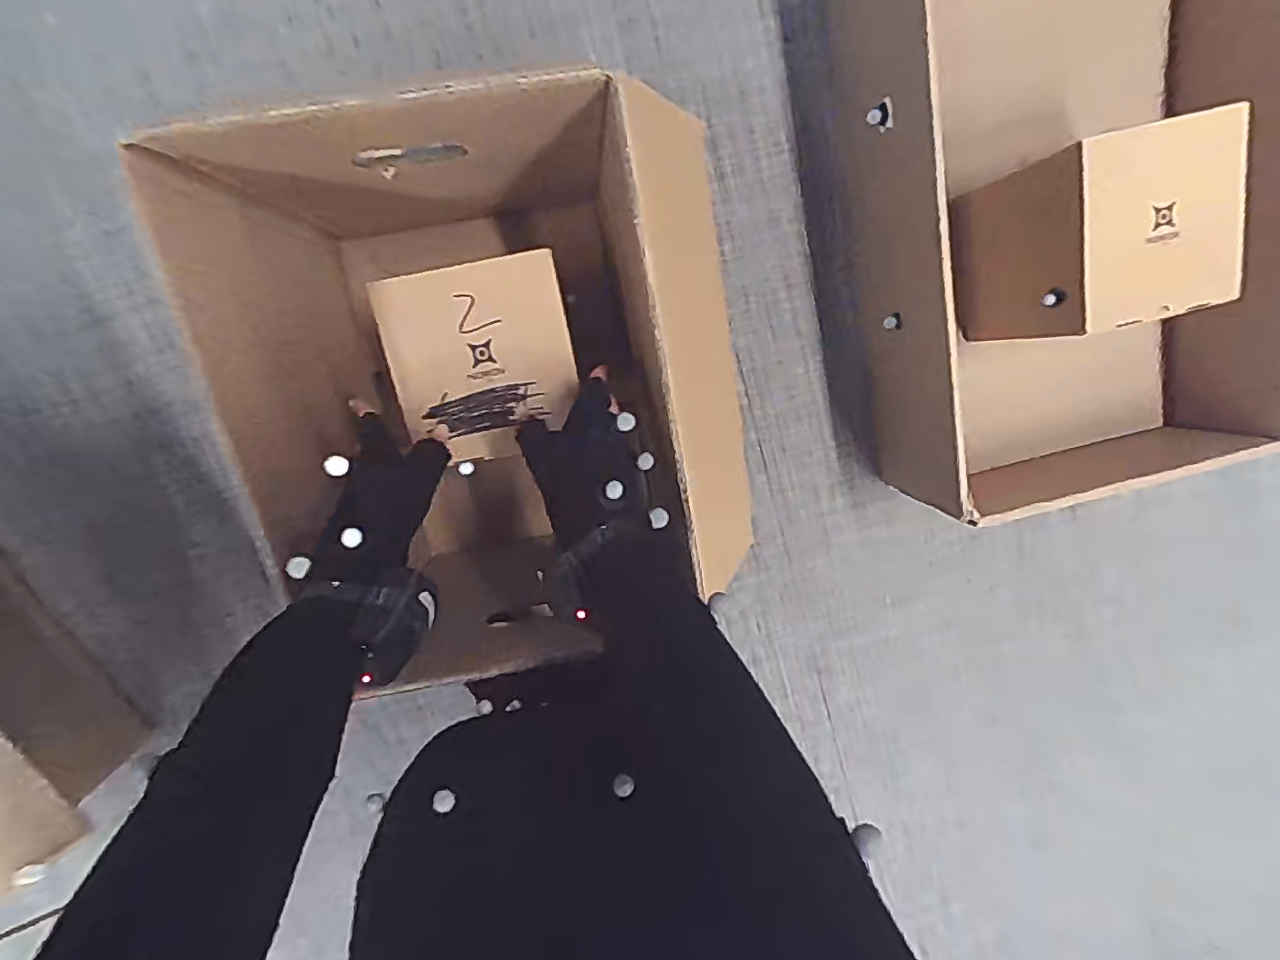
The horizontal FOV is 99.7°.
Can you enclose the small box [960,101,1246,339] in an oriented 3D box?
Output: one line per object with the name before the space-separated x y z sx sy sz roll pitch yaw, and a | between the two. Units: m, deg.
small box | 0.473 -0.257 0.578 0.168 0.176 0.179 -15 104 -2
